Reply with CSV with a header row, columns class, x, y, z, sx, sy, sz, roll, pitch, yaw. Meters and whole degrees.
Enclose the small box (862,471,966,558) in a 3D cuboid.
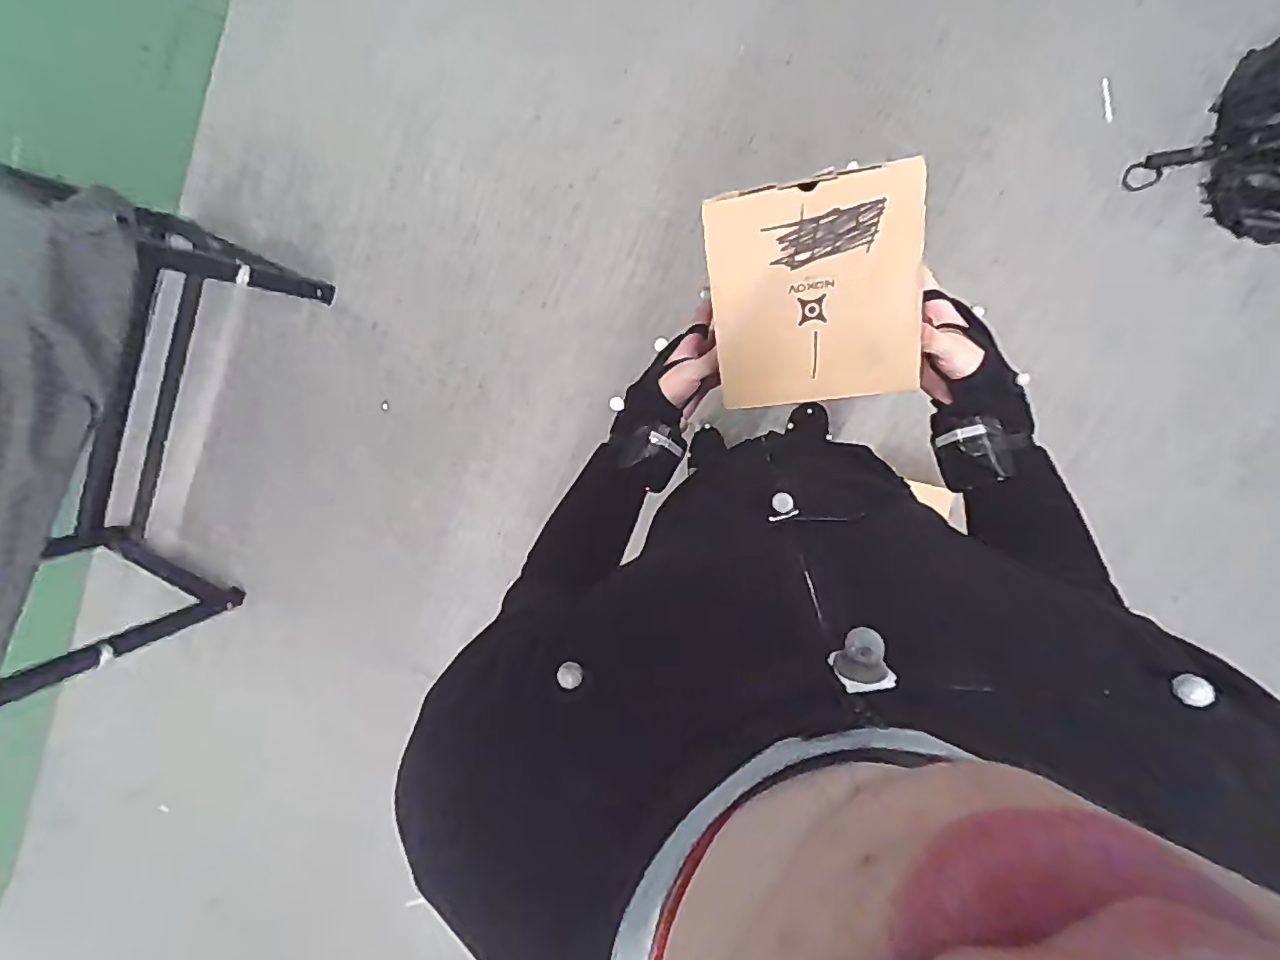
class,x,y,z,sx,sy,sz,roll,pitch,yaw
small box,0.688,0.079,1.381,0.179,0.176,0.168,13,103,9
